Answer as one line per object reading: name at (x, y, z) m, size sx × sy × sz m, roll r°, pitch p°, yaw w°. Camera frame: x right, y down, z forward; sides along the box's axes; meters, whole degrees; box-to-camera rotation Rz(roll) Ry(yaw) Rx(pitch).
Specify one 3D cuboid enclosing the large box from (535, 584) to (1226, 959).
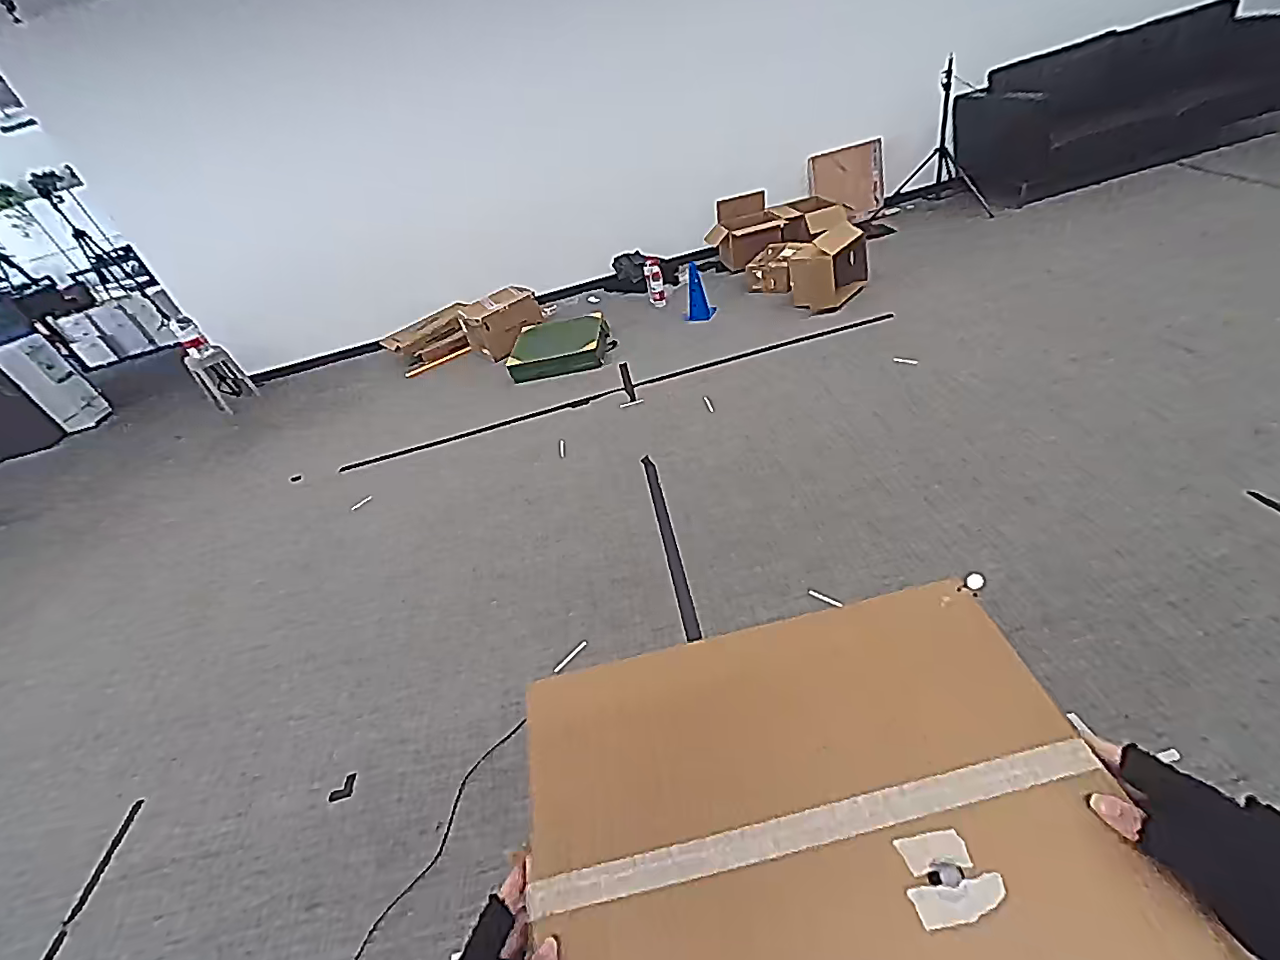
large box at (0.145, 0.351, 0.496) m, size 0.408 × 0.320 × 0.320 m, roll -13°, pitch 46°, yaw -3°
